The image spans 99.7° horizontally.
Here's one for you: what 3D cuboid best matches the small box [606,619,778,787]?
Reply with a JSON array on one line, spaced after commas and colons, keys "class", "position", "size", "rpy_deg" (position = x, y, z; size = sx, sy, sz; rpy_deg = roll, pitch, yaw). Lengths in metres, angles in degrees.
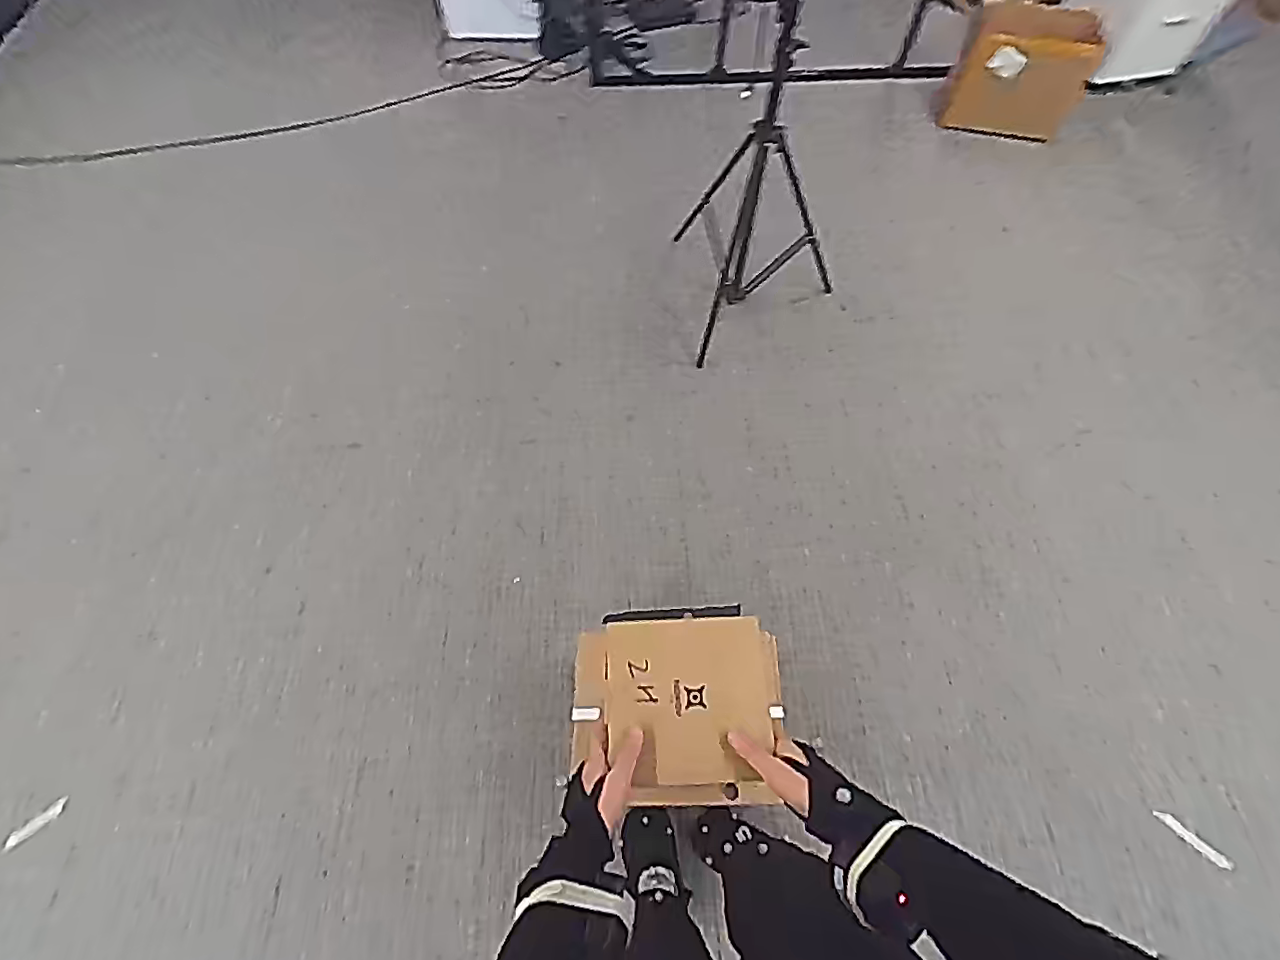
[{"class": "small box", "position": [0.051, 0.266, 0.649], "size": [0.179, 0.176, 0.168], "rpy_deg": [-3, 64, 0]}]
